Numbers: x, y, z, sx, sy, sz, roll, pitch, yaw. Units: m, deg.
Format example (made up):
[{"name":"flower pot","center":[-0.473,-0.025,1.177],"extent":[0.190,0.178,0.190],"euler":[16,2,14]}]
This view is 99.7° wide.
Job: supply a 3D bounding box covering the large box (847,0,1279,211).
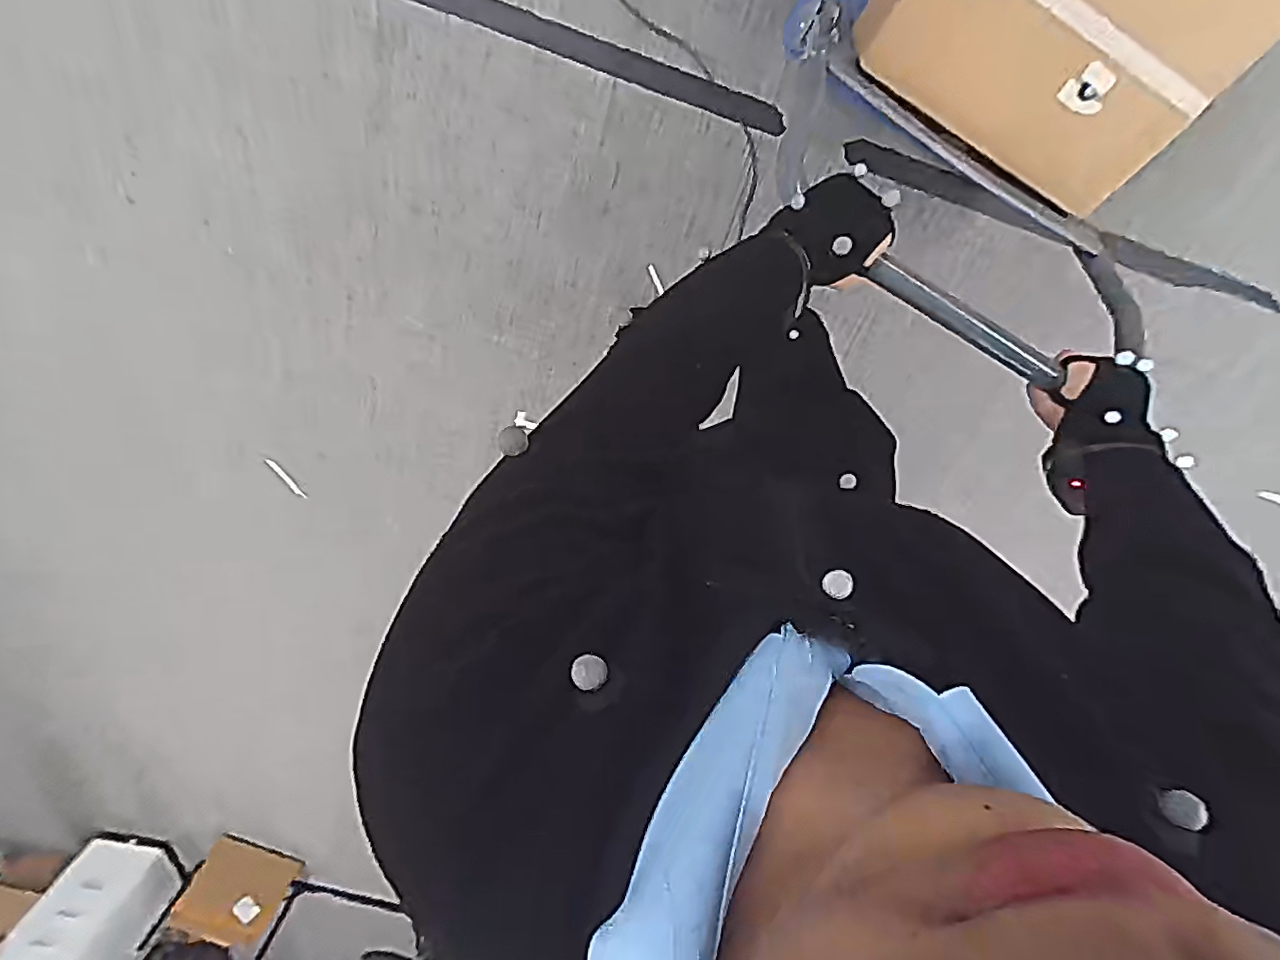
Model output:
[{"name":"large box","center":[0.564,-0.672,0.767],"extent":[0.408,0.320,0.320],"euler":[26,137,-10]}]
